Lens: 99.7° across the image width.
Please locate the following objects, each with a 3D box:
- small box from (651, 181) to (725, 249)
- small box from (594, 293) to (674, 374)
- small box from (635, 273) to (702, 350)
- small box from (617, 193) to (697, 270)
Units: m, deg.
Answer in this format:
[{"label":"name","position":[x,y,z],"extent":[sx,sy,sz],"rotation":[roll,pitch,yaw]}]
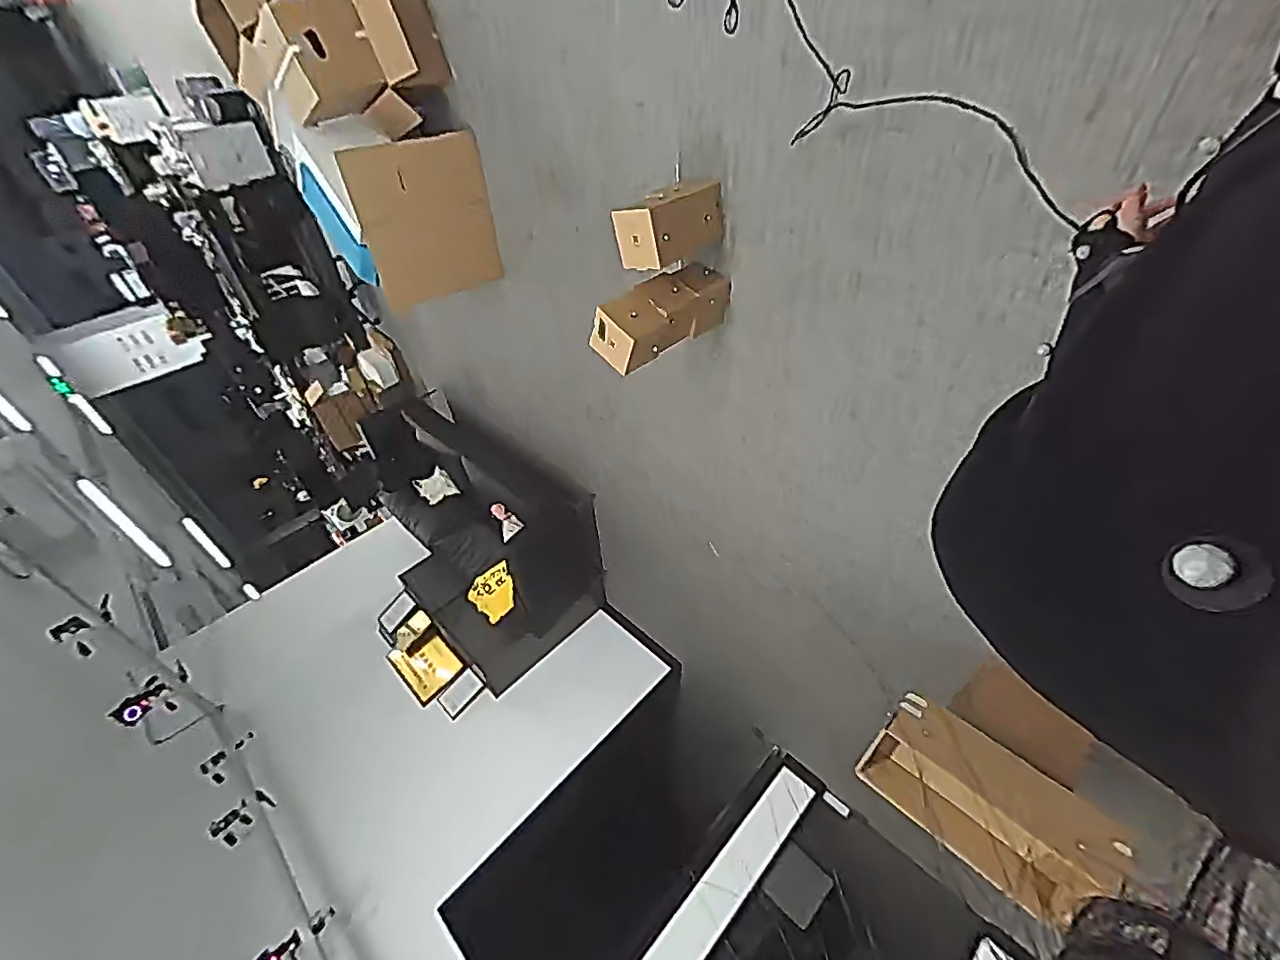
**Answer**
[{"label":"small box","position":[0.163,-0.866,1.761],"extent":[0.179,0.176,0.168],"rotation":[27,141,39]},{"label":"small box","position":[-0.021,-0.485,1.764],"extent":[0.179,0.176,0.168],"rotation":[45,149,15]},{"label":"small box","position":[0.089,-0.574,1.848],"extent":[0.168,0.176,0.179],"rotation":[43,148,19]},{"label":"small box","position":[0.059,-0.771,1.678],"extent":[0.168,0.176,0.179],"rotation":[22,138,42]}]
